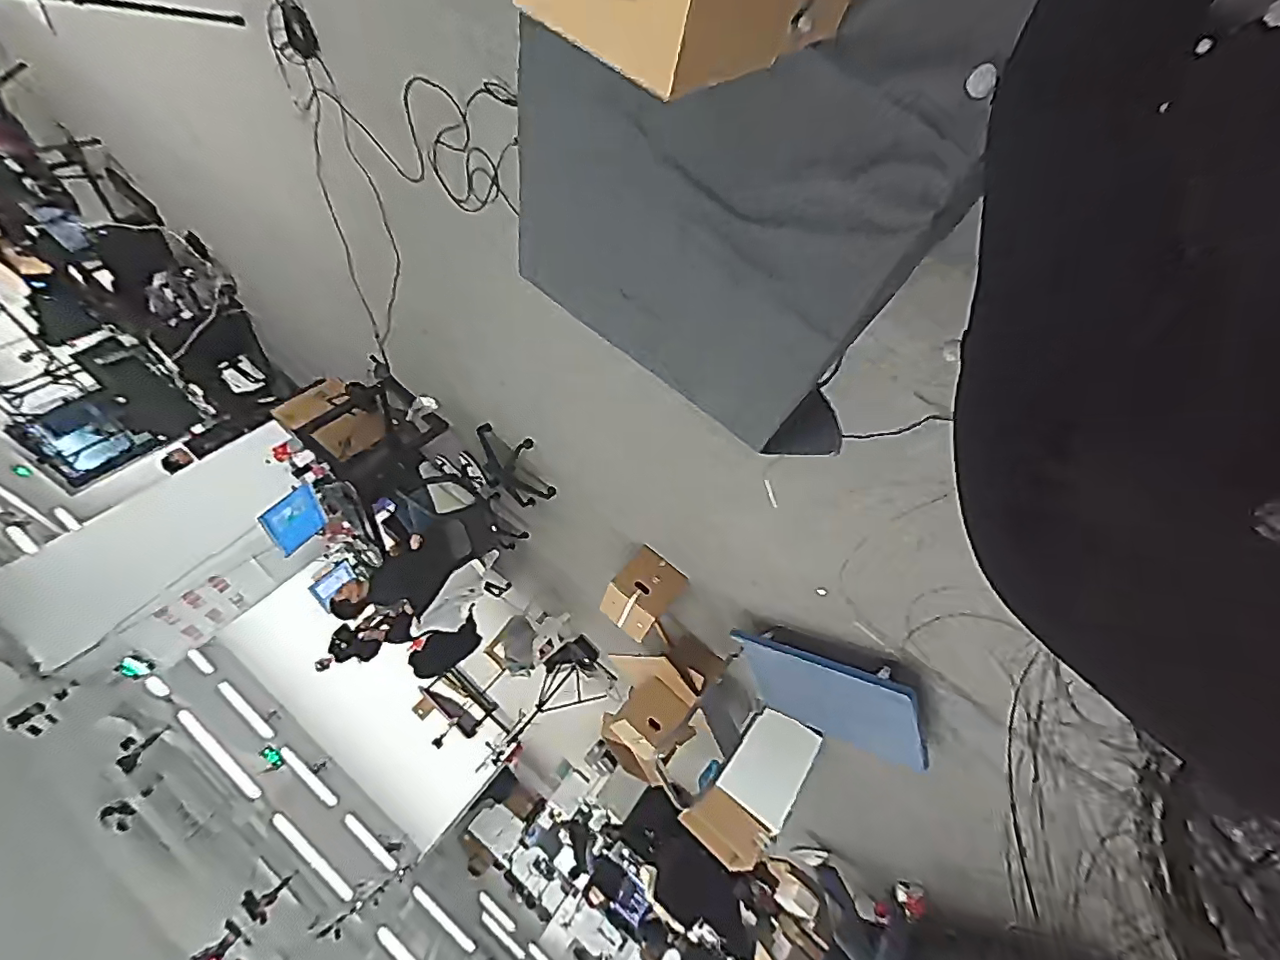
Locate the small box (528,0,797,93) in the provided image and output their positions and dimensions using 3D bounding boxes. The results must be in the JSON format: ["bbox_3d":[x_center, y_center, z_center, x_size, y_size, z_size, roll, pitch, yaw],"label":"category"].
[{"bbox_3d":[0.034,-0.432,0.394,0.168,0.176,0.179,39,146,11],"label":"small box"}]
